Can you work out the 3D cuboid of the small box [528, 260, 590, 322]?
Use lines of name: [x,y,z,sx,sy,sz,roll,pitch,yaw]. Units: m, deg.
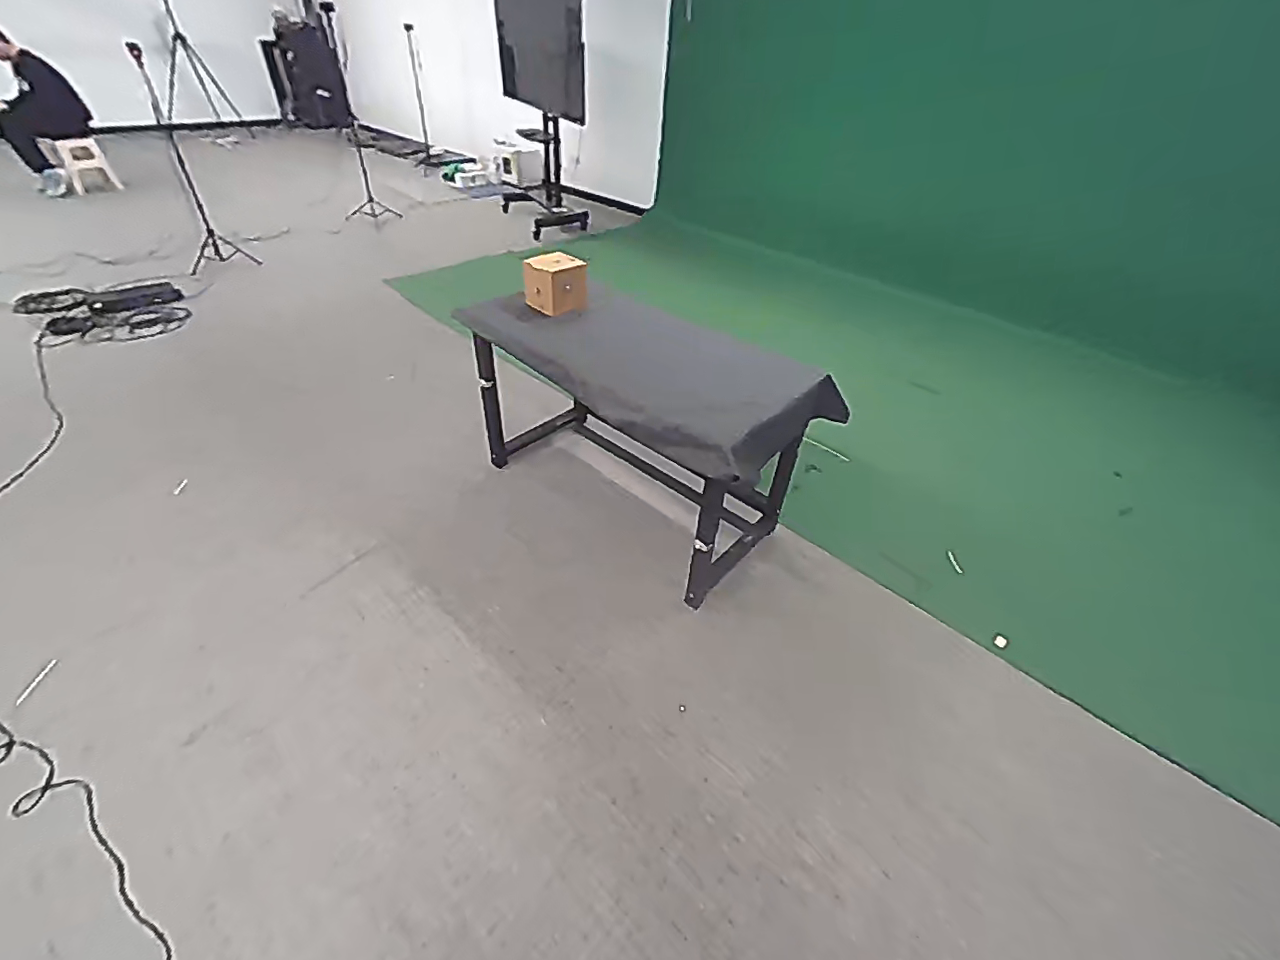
small box: [-0.307,-0.727,2.080,0.168,0.176,0.179,34,48,30]
